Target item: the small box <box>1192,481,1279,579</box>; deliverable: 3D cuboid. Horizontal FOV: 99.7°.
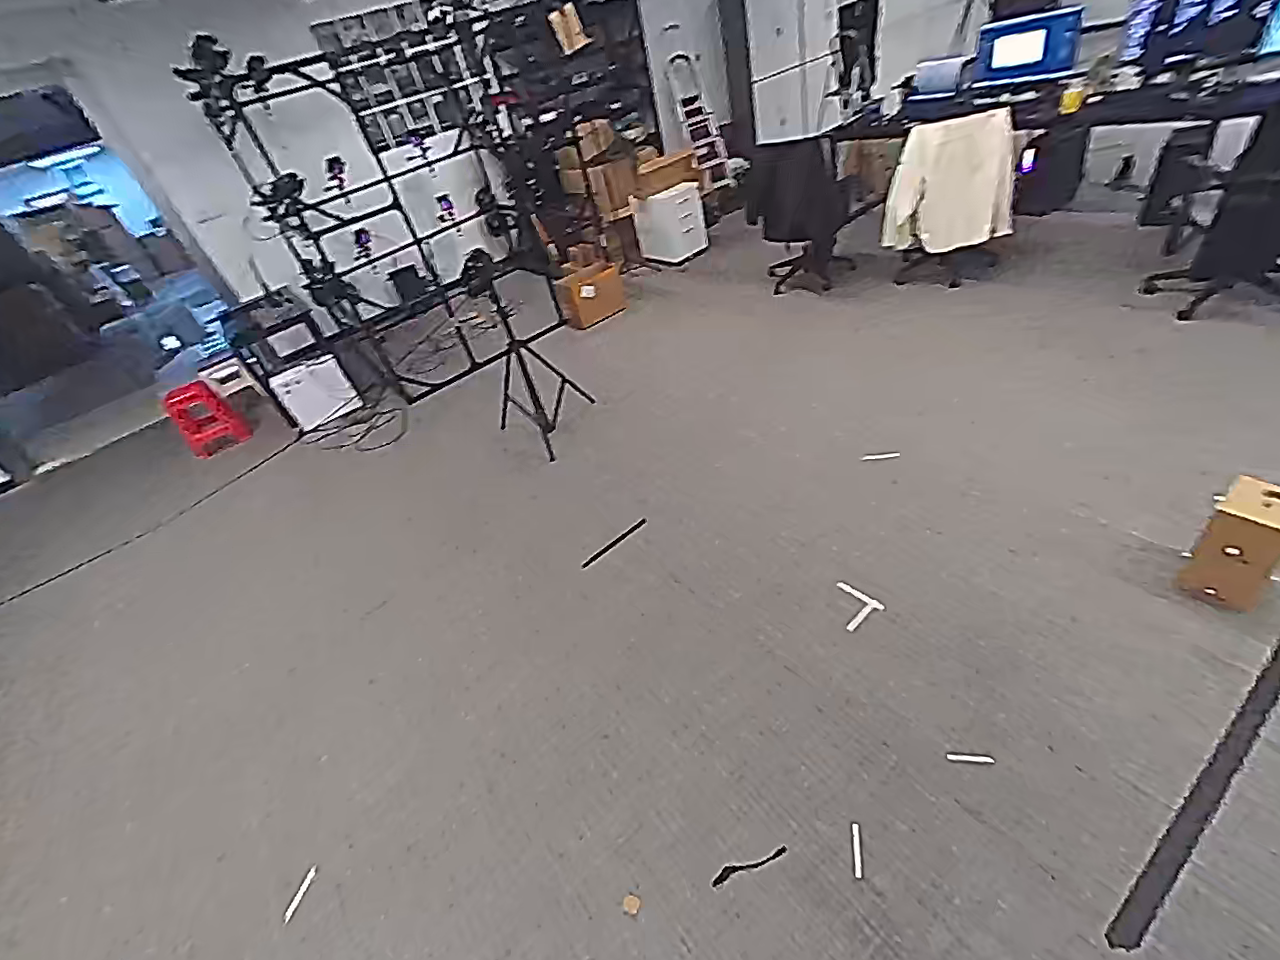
[{"bbox_3d":[1.700,0.138,1.504,0.179,0.176,0.168,-34,40,-20],"label":"small box"}]
